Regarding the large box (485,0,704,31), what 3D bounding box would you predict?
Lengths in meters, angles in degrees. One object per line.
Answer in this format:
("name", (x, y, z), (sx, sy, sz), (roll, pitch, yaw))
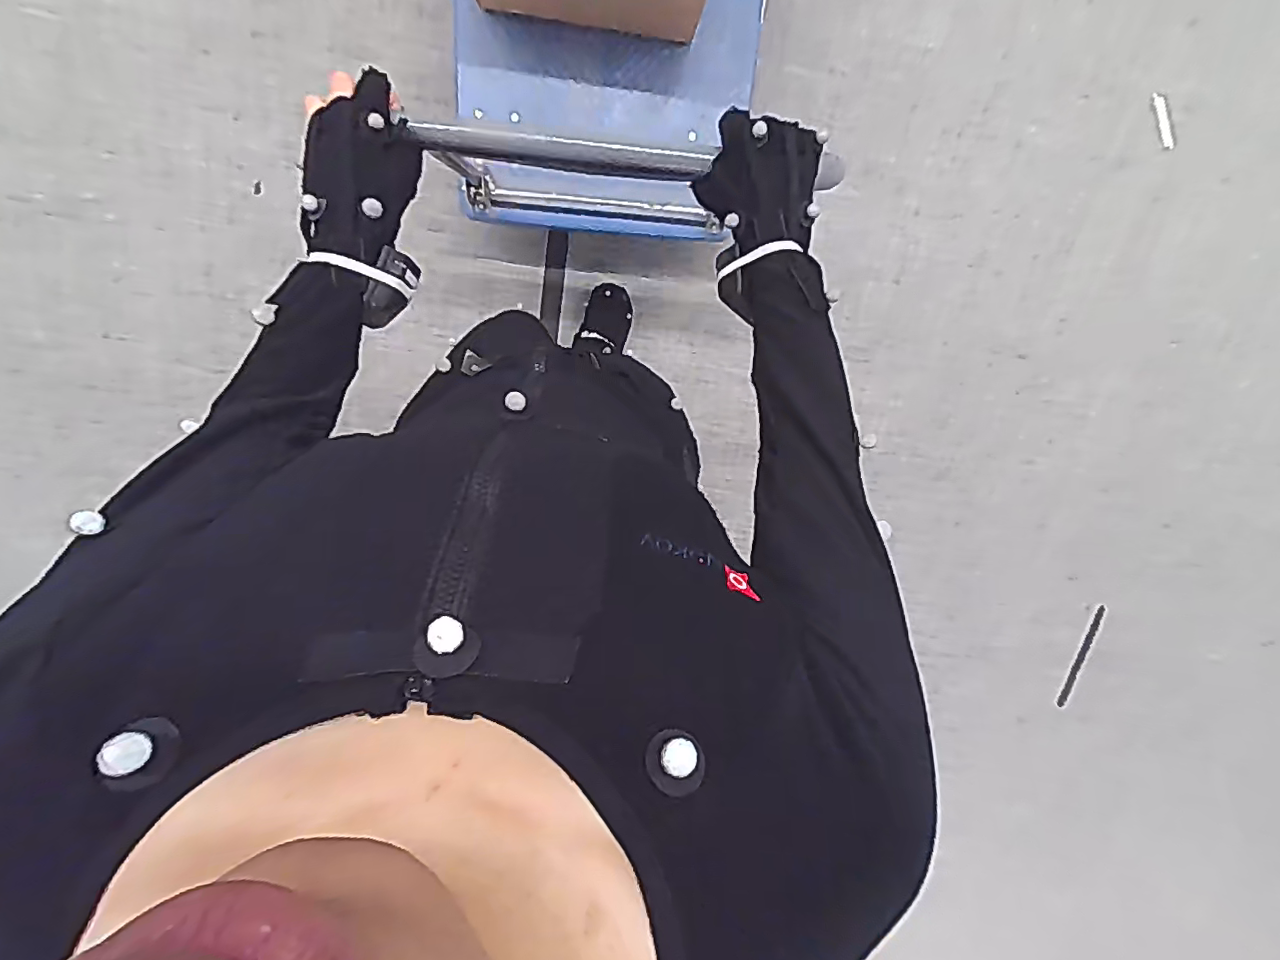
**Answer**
("large box", (-0.073, -0.967, 0.841), (0.408, 0.320, 0.320), (5, 108, -5))
